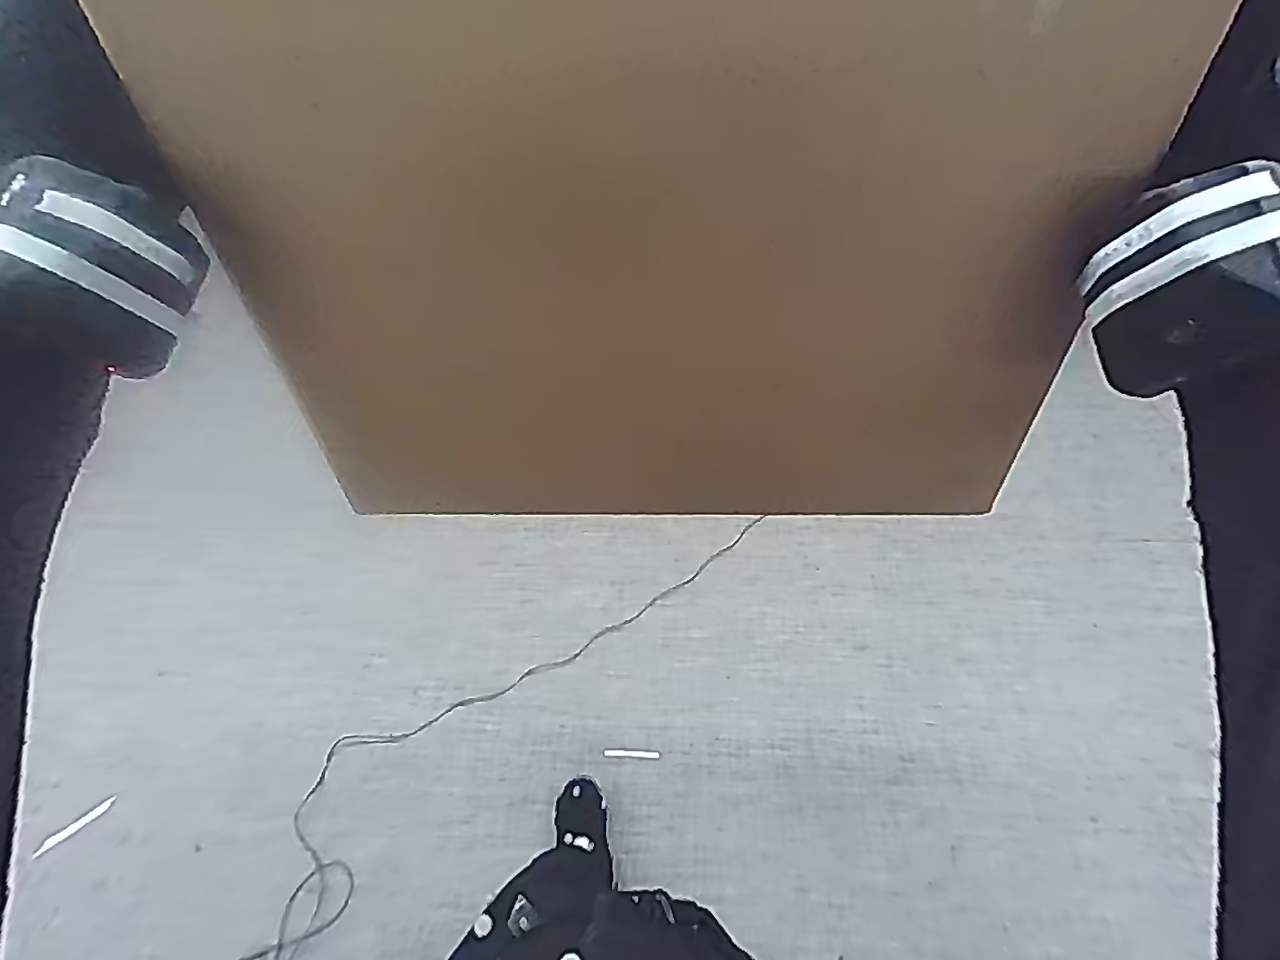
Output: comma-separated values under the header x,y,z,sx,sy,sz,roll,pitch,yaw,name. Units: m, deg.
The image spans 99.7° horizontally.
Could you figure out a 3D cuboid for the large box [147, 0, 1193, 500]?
x,y,z,sx,sy,sz,roll,pitch,yaw,name
0.014,-0.197,0.376,0.408,0.320,0.320,0,40,3,large box
